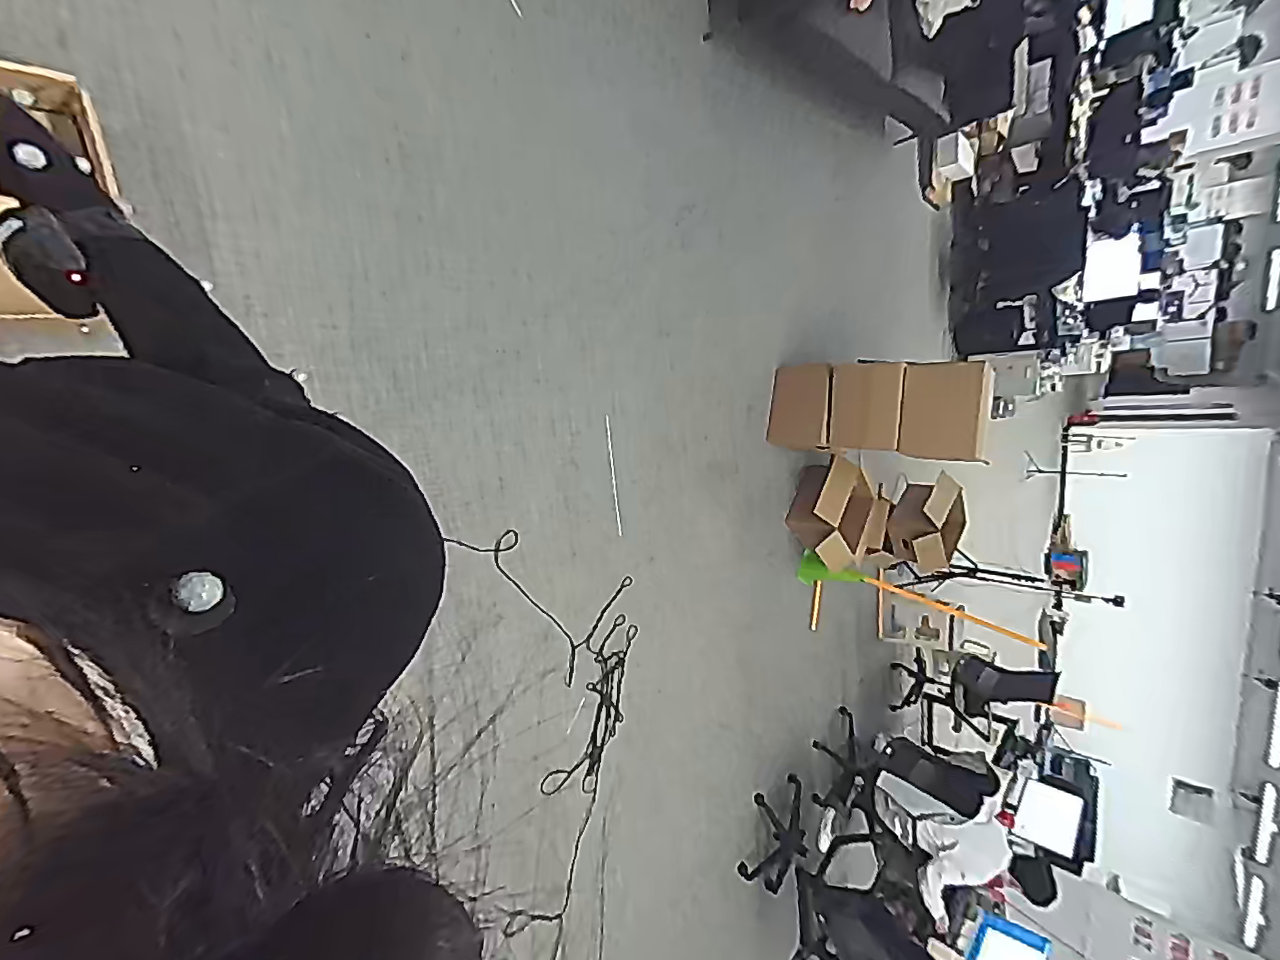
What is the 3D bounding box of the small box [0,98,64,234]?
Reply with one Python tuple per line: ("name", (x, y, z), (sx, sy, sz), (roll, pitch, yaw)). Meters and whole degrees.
("small box", (-1.094, -0.505, 0.878), (0.179, 0.176, 0.168), (-25, 112, -40))
